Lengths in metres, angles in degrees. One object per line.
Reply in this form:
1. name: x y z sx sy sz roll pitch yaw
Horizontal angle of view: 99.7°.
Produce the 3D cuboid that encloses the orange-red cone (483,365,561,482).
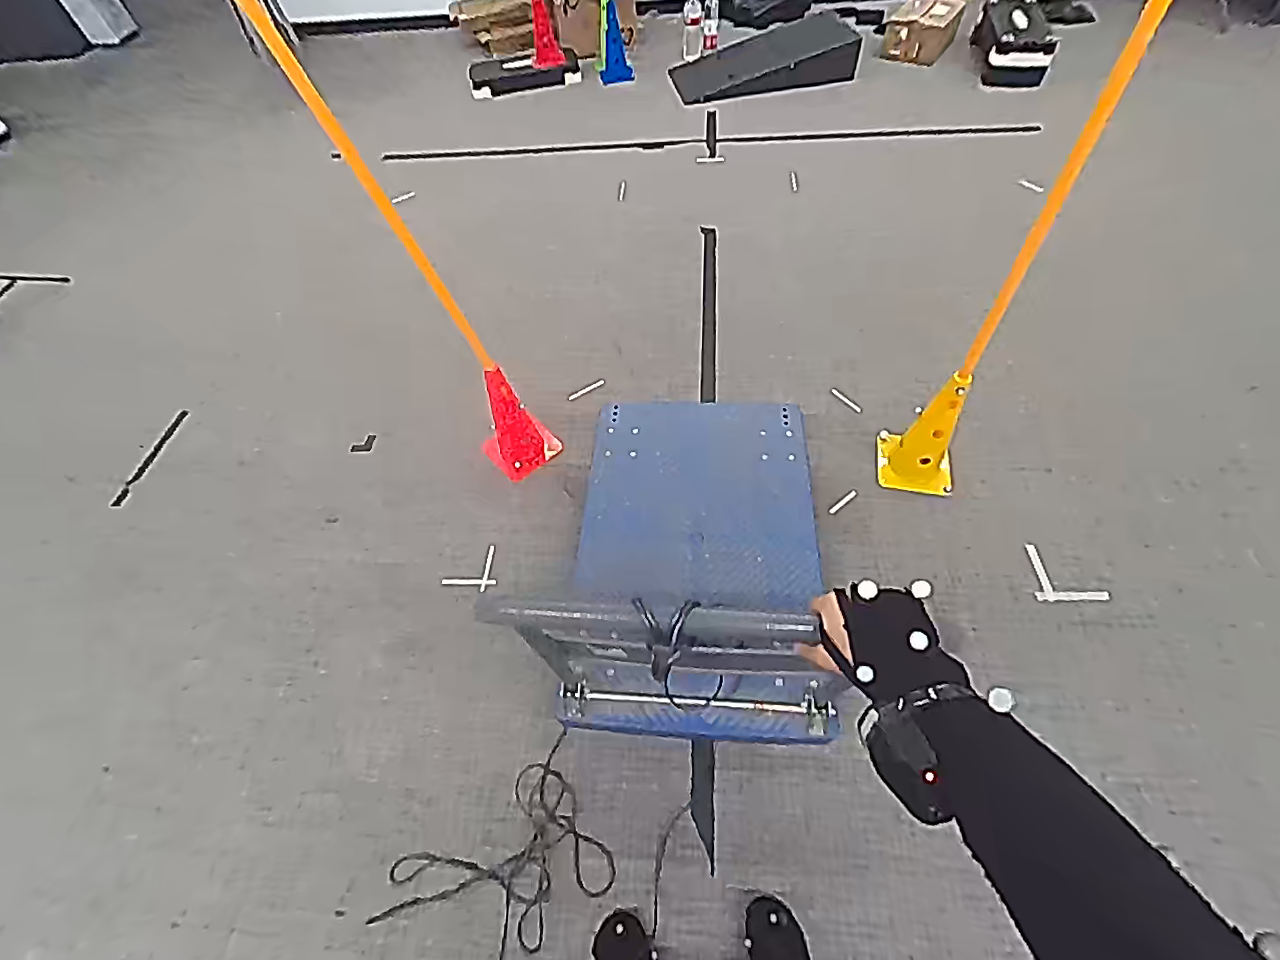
1. orange-red cone: -0.382 -0.194 1.577 0.199 0.360 0.198 -36 61 -20
